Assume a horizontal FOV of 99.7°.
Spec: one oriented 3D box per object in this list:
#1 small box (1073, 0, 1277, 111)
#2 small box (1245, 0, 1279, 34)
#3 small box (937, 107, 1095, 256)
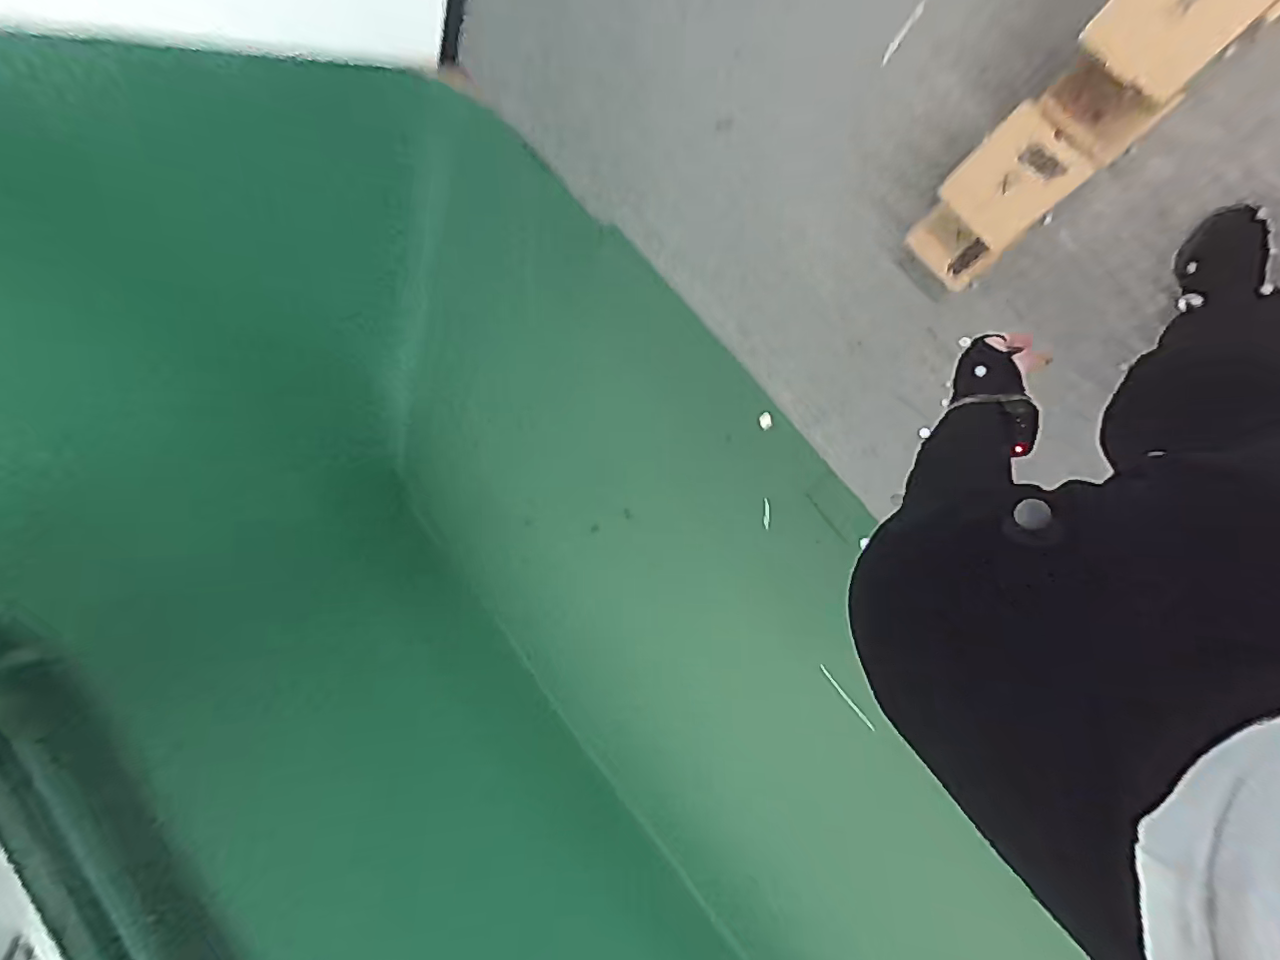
[{"bbox_3d":[0.809,-0.695,0.817,0.168,0.176,0.179,48,136,9],"label":"small box"},{"bbox_3d":[0.977,-0.825,0.826,0.179,0.176,0.168,50,138,9],"label":"small box"},{"bbox_3d":[0.700,-0.552,1.005,0.168,0.176,0.179,52,139,7],"label":"small box"}]
